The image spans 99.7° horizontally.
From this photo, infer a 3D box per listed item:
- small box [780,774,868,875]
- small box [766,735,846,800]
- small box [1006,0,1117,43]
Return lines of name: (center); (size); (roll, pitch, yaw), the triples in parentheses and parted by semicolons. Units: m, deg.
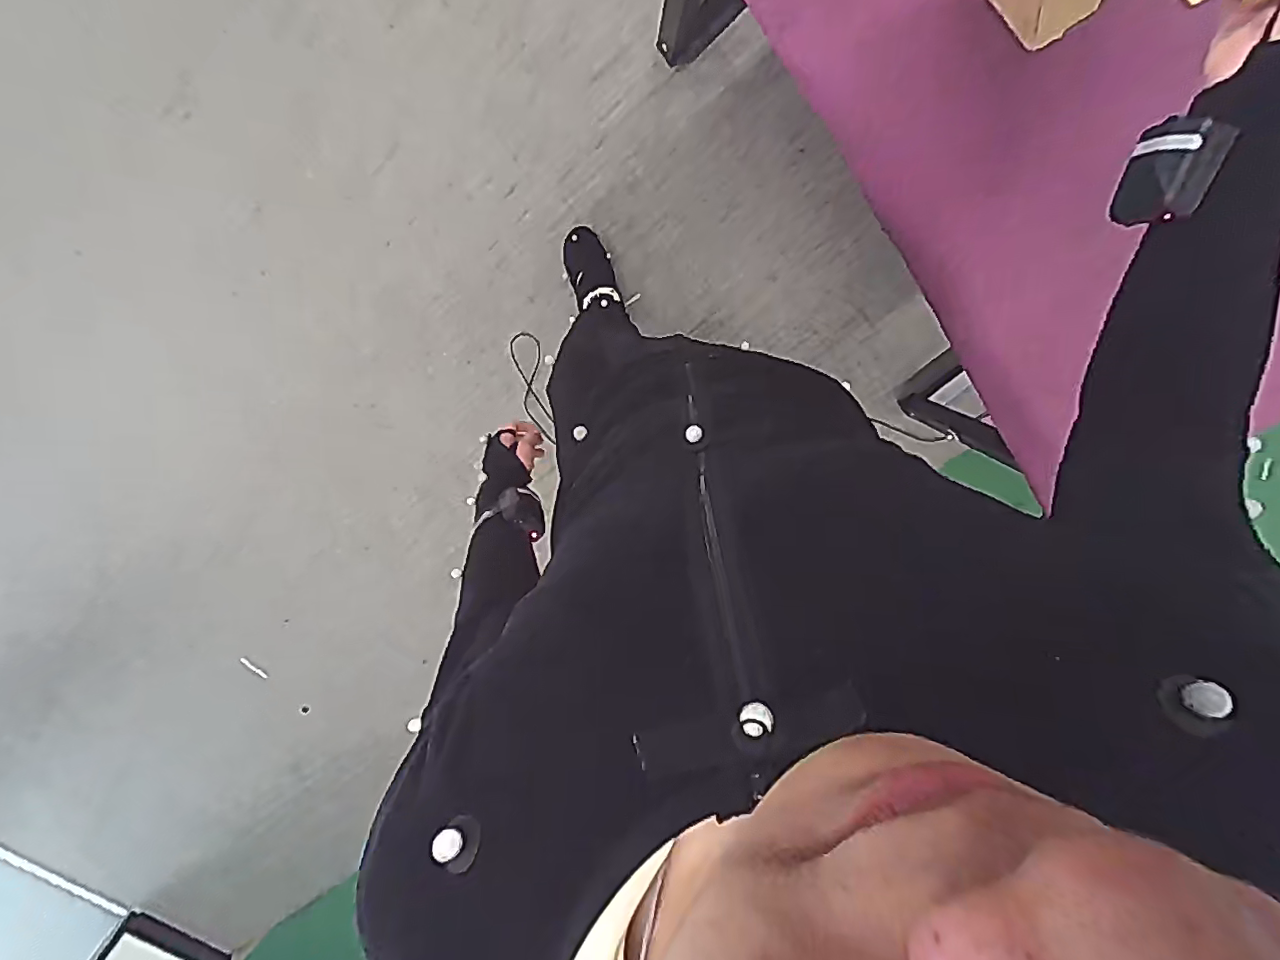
small box: (0.556, 1.048, 1.653); (0.168, 0.176, 0.179); (-36, 108, 11)
small box: (0.547, 0.989, 1.807); (0.168, 0.176, 0.179); (-36, 107, 12)
small box: (0.419, -0.564, 0.478); (0.168, 0.179, 0.176); (-22, 66, 21)
